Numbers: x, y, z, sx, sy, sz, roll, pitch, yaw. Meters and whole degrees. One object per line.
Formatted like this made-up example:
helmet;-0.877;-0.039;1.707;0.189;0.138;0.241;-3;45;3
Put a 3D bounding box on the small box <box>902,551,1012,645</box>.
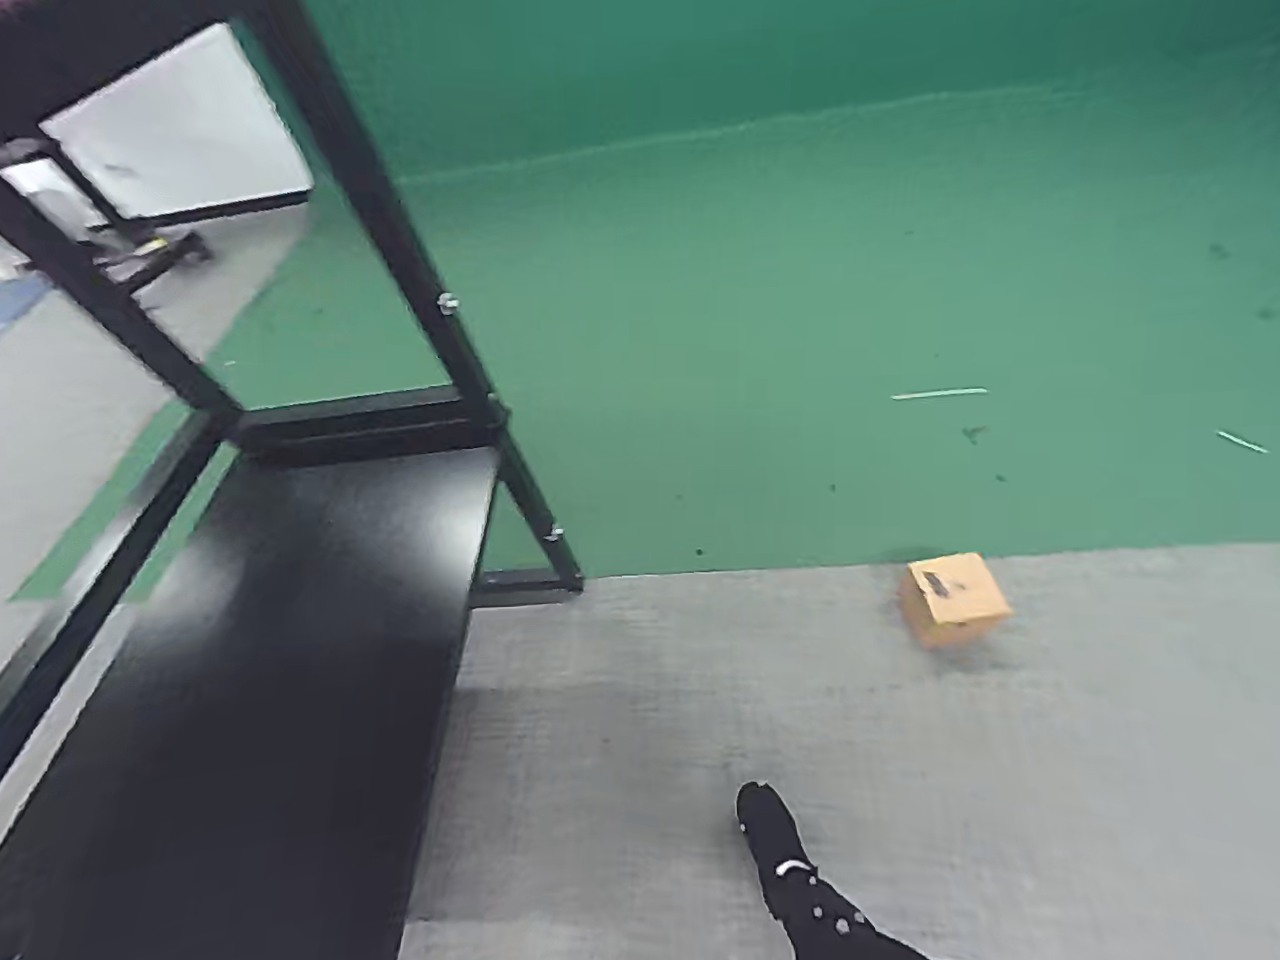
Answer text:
small box;0.787;0.304;1.372;0.179;0.176;0.168;-10;52;3
